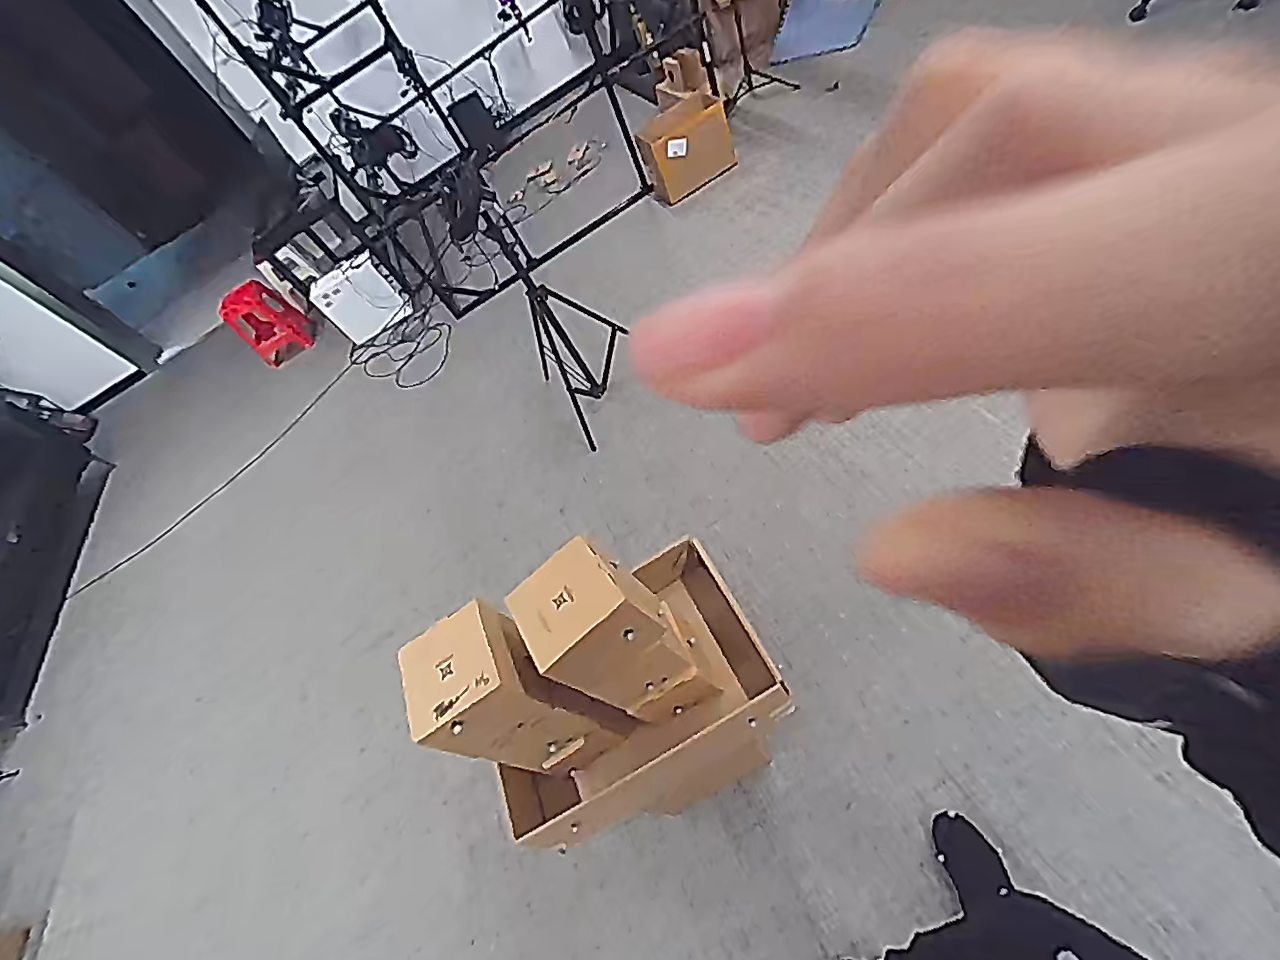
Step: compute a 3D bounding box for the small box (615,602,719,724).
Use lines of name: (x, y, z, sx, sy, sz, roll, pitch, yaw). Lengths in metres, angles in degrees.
small box: (0.047, 0.401, 1.172, 0.168, 0.176, 0.179, -33, 50, 6)

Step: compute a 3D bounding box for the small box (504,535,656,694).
small box: (-0.093, 0.233, 0.926, 0.179, 0.176, 0.168, -41, 48, -2)

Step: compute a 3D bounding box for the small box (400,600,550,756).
small box: (-0.283, 0.347, 0.937, 0.168, 0.176, 0.179, -35, 48, 2)

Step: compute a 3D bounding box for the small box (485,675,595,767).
small box: (-0.216, 0.432, 1.062, 0.168, 0.176, 0.179, -34, 50, 1)
